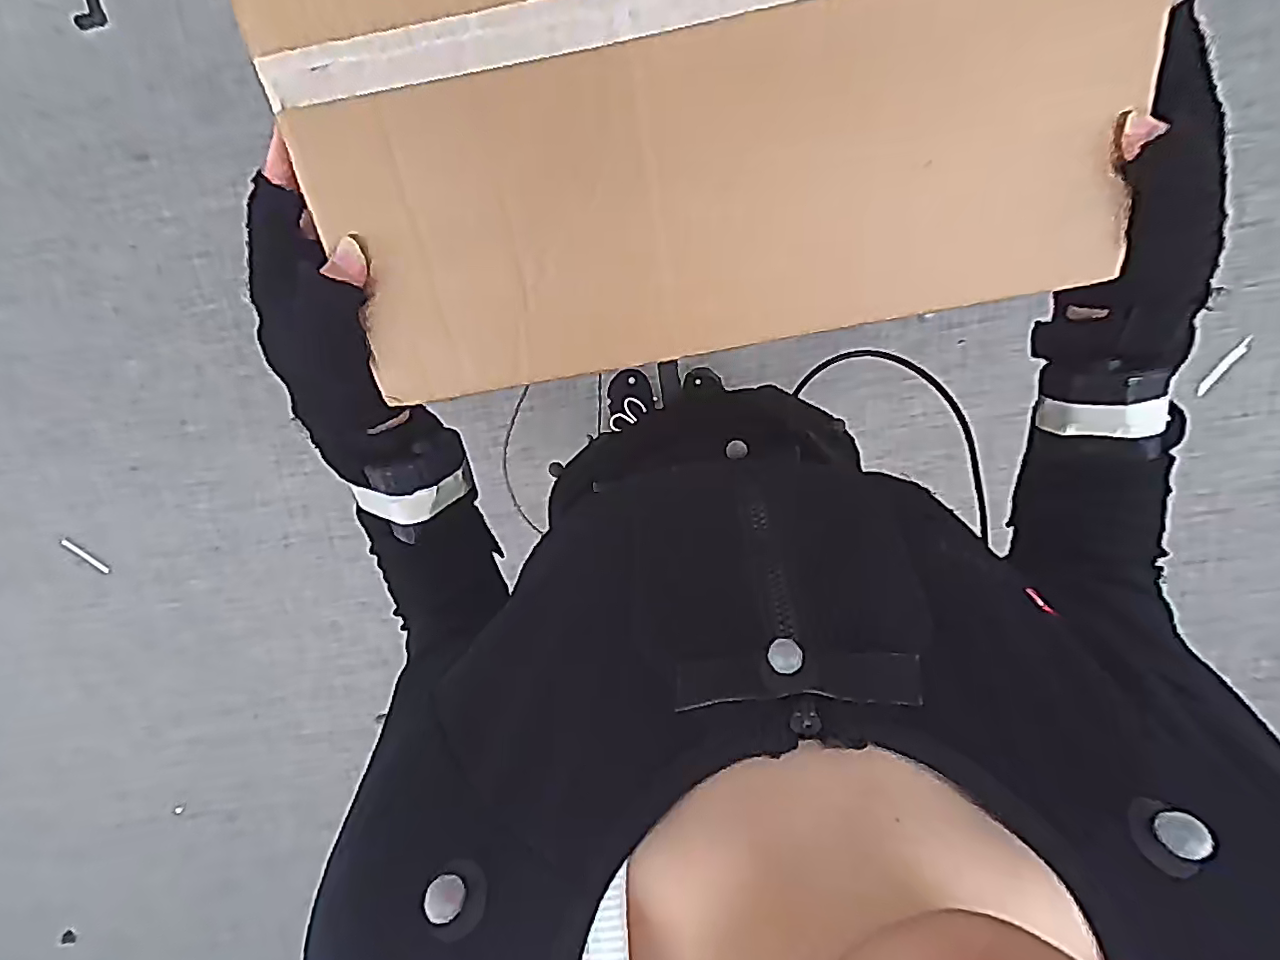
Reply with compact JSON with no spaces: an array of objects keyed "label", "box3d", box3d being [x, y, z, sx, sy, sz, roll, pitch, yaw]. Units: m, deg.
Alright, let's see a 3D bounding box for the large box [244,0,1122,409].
[{"label":"large box","box3d":[0.022,-0.274,0.384,0.408,0.320,0.320,-9,113,3]}]
